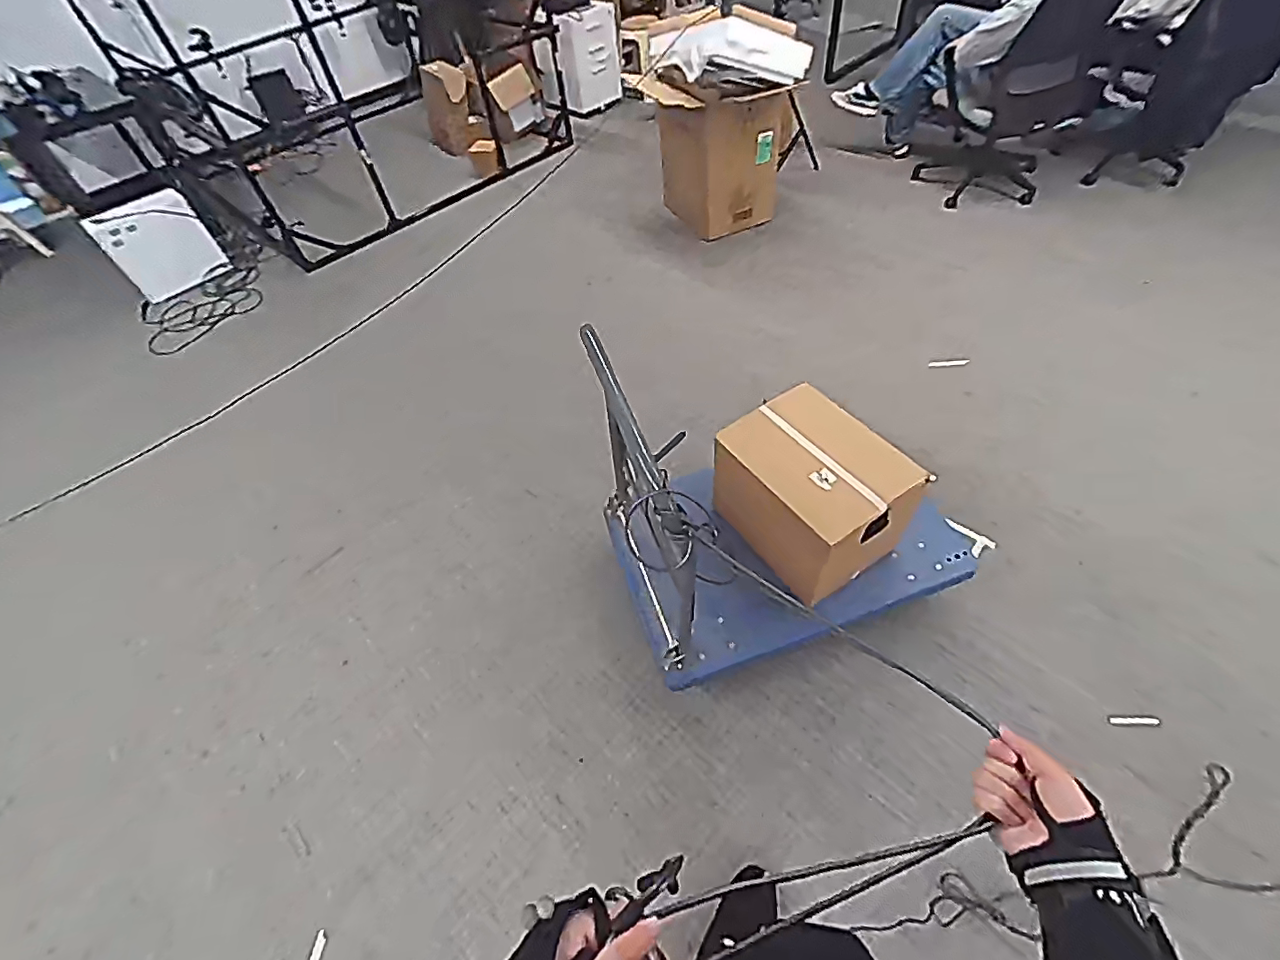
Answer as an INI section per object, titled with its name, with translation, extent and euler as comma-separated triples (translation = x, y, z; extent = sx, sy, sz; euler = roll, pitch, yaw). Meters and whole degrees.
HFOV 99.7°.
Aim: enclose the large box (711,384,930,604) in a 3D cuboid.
[large box]
translation = 0.426, 0.031, 1.389
extent = 0.320, 0.320, 0.408
euler = -31, 56, -15
